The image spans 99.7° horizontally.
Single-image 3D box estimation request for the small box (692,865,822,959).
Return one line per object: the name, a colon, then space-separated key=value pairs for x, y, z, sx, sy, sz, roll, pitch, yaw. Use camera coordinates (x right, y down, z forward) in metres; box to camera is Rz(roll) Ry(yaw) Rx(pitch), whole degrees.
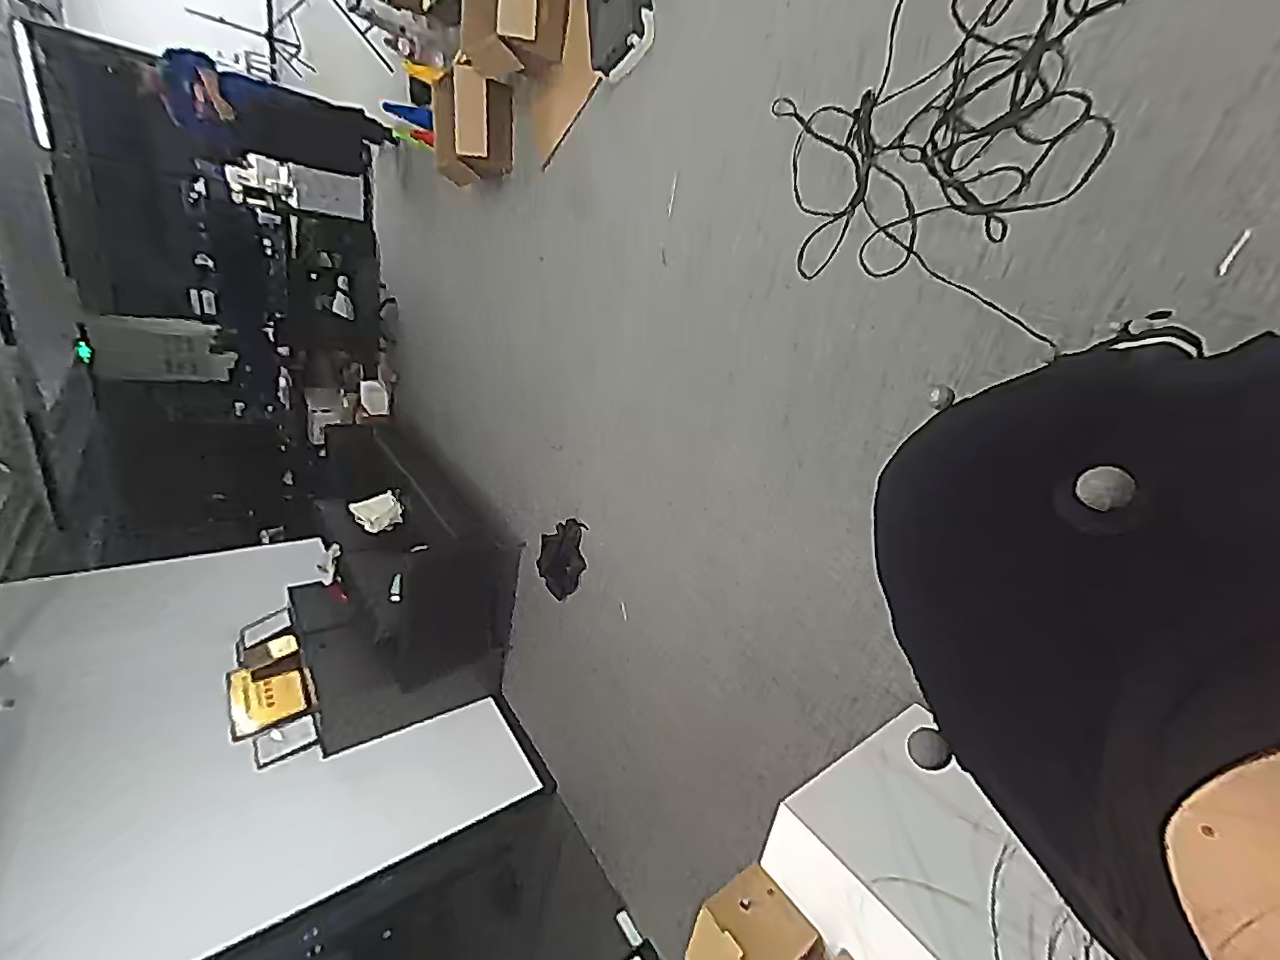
small box: x=0.230 y=0.913 z=1.059 sx=0.168 sy=0.176 sz=0.179 roll=32 pitch=121 yaw=46
